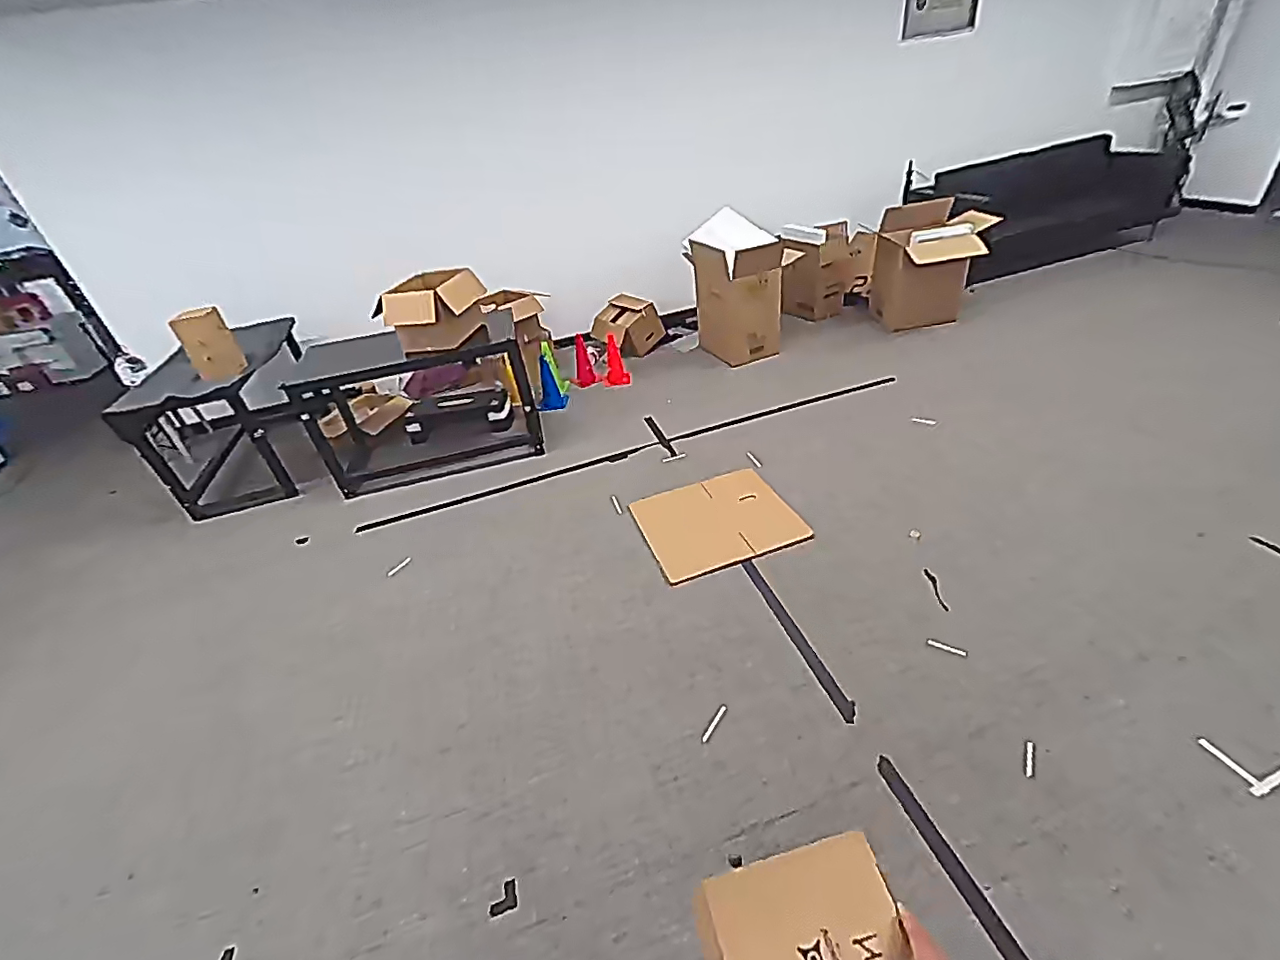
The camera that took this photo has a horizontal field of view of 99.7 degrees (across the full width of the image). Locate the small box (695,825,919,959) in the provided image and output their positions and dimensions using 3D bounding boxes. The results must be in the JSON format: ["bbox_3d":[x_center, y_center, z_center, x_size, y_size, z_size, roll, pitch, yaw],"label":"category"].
[{"bbox_3d":[0.160,0.481,0.546,0.179,0.176,0.168,-10,49,-10],"label":"small box"}]
